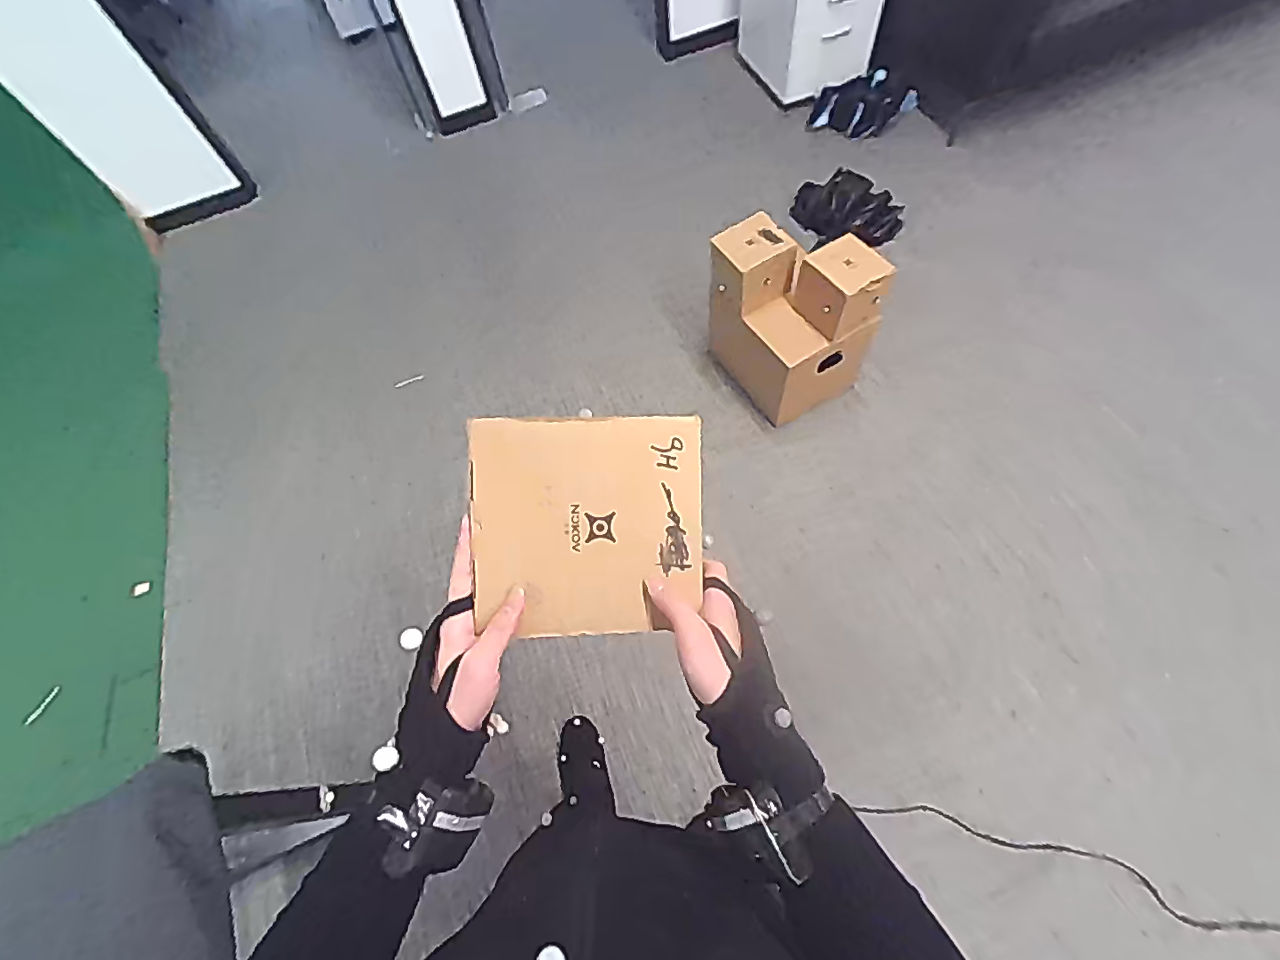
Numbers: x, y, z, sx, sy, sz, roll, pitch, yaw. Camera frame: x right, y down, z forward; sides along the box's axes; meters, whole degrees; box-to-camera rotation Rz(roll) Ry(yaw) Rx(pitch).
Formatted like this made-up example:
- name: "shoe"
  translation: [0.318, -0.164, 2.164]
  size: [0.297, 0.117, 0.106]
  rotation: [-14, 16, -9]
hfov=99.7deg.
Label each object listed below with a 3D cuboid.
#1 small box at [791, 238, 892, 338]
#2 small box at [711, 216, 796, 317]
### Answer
- name: "small box"
  translation: [0.538, -0.511, 1.465]
  size: [0.168, 0.176, 0.179]
  rotation: [-30, 62, -13]
- name: "small box"
  translation: [0.315, -0.602, 1.537]
  size: [0.179, 0.176, 0.168]
  rotation: [-29, 63, -5]
